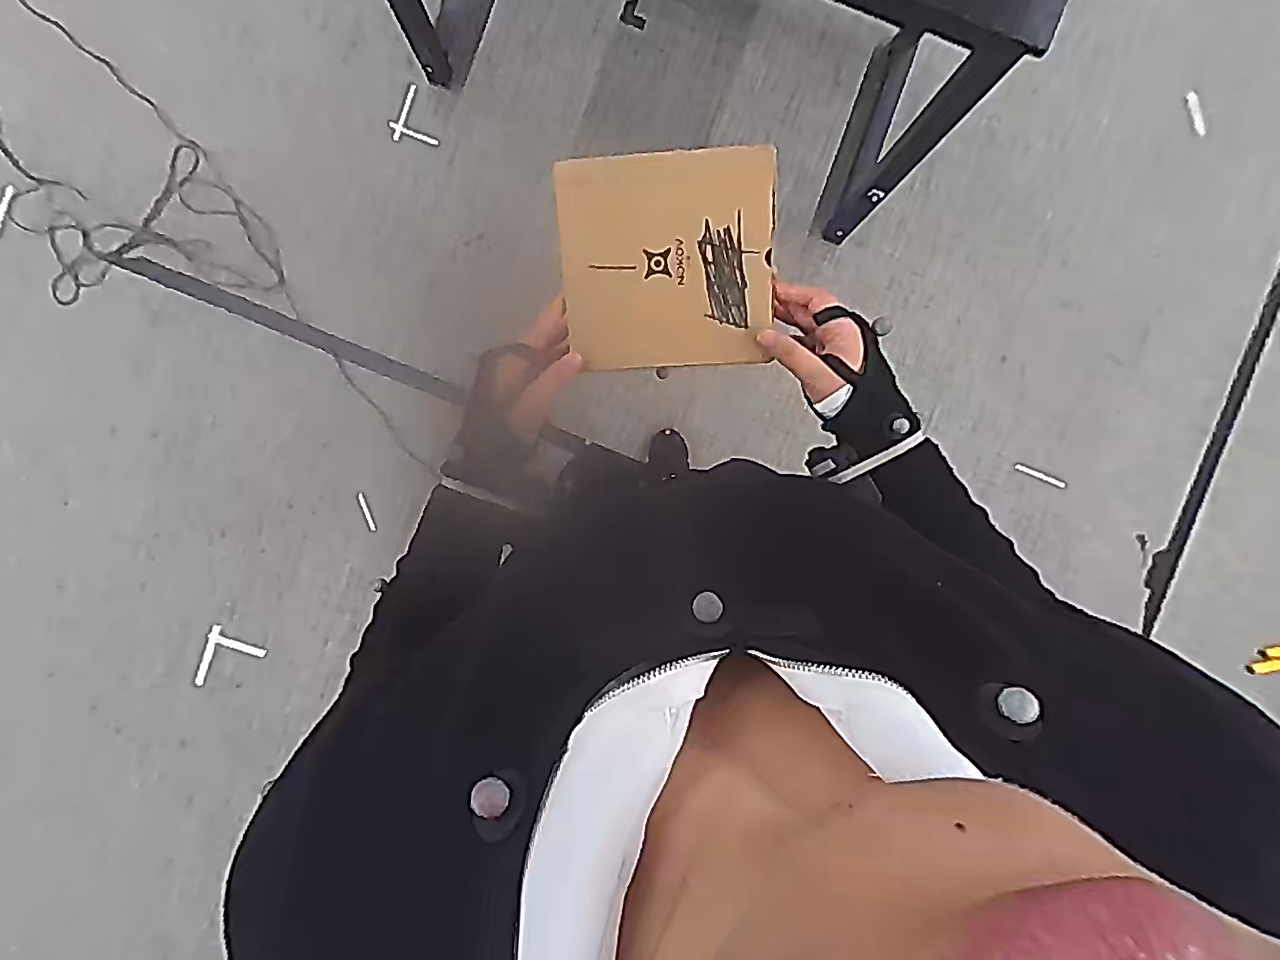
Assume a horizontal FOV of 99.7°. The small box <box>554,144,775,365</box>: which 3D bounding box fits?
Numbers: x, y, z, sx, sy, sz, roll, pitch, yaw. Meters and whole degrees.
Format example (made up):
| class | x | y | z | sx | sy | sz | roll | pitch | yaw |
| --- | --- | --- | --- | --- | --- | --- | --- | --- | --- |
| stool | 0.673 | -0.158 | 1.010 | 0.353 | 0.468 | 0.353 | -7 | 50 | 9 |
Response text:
| class | x | y | z | sx | sy | sz | roll | pitch | yaw |
| --- | --- | --- | --- | --- | --- | --- | --- | --- | --- |
| small box | 0.024 | -0.203 | 0.520 | 0.179 | 0.176 | 0.168 | -2 | 106 | 3 |
